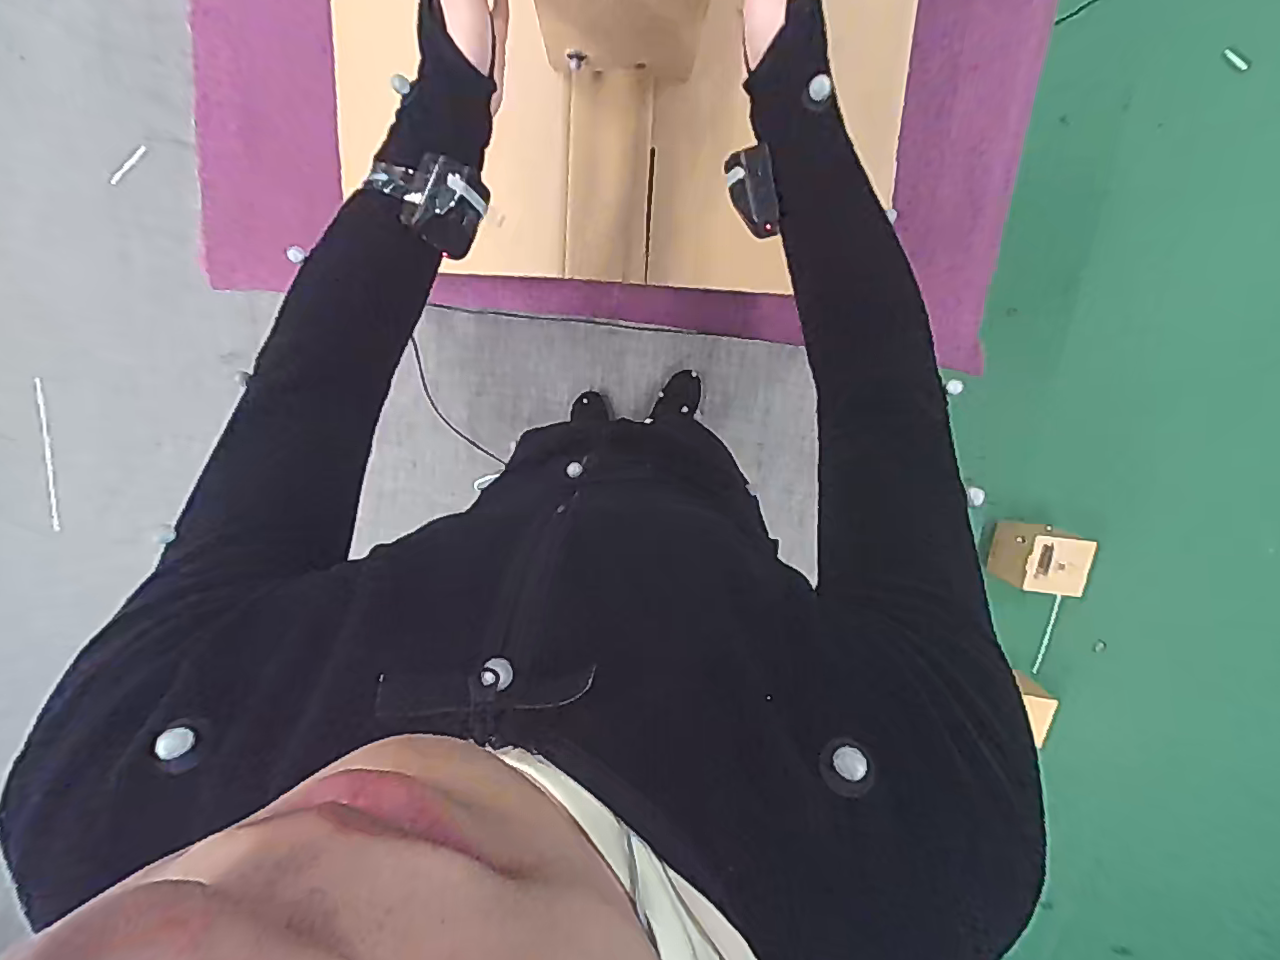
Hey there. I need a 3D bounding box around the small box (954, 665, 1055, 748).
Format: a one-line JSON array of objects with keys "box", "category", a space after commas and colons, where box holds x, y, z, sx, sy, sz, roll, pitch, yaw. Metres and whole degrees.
[{"box": [1.130, 0.701, 1.690, 0.179, 0.176, 0.168, 10, 102, -1], "category": "small box"}]

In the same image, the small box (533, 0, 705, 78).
[{"box": [-0.015, -0.529, 0.523, 0.168, 0.176, 0.179, 3, 101, -3], "category": "small box"}]
